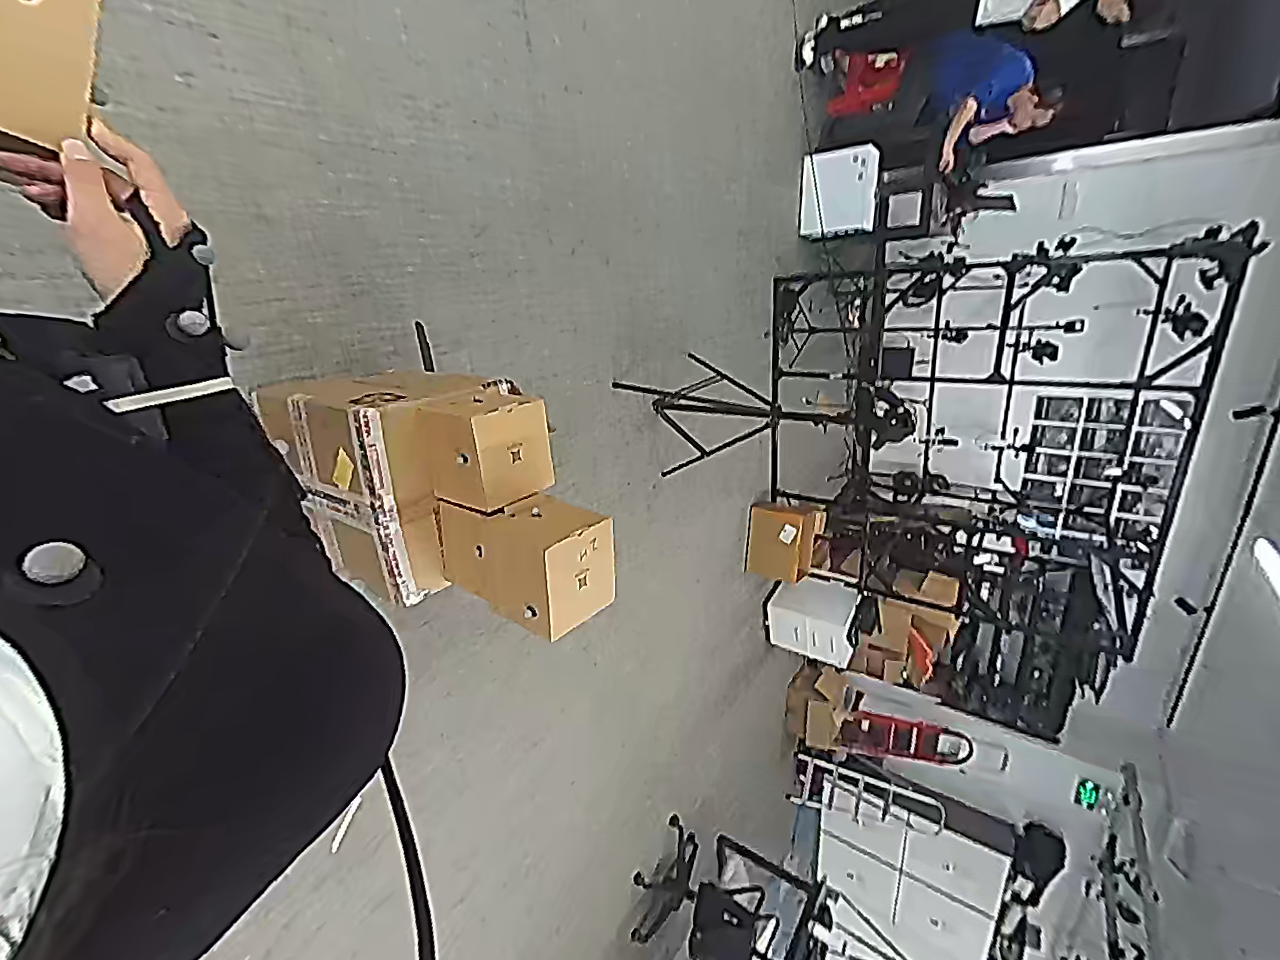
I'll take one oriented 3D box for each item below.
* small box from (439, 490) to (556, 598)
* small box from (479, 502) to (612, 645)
[{"bbox_3d":[-0.283,0.125,1.083,0.168,0.176,0.179,-18,115,-50],"label":"small box"},{"bbox_3d":[-0.167,0.157,0.967,0.168,0.176,0.179,-23,118,-49],"label":"small box"}]
